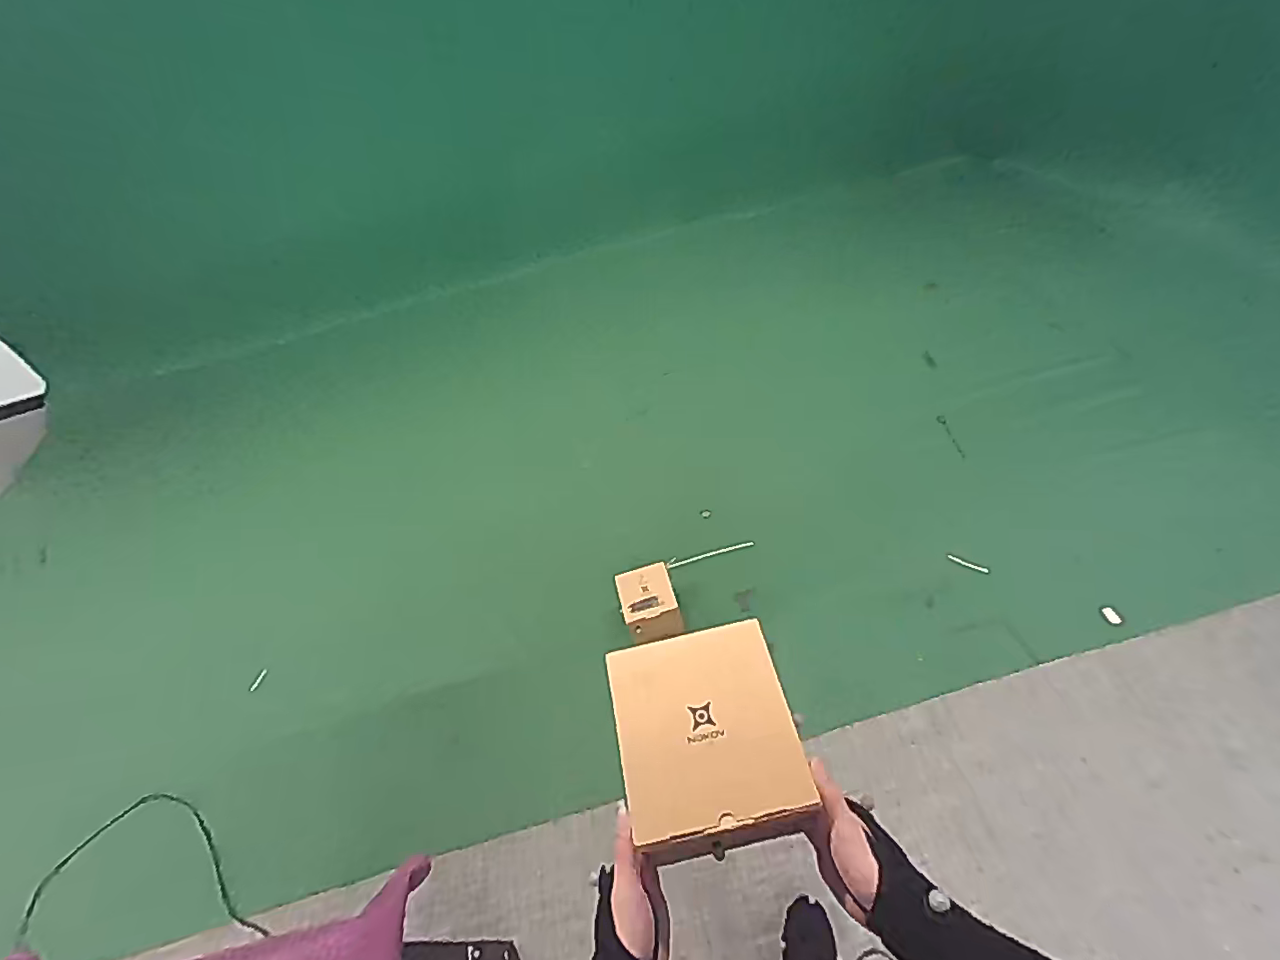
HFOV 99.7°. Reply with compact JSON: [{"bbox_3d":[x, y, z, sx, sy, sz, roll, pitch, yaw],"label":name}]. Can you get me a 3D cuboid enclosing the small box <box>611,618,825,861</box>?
[{"bbox_3d":[0.071,0.275,0.568,0.168,0.176,0.179,-13,51,-2],"label":"small box"}]
